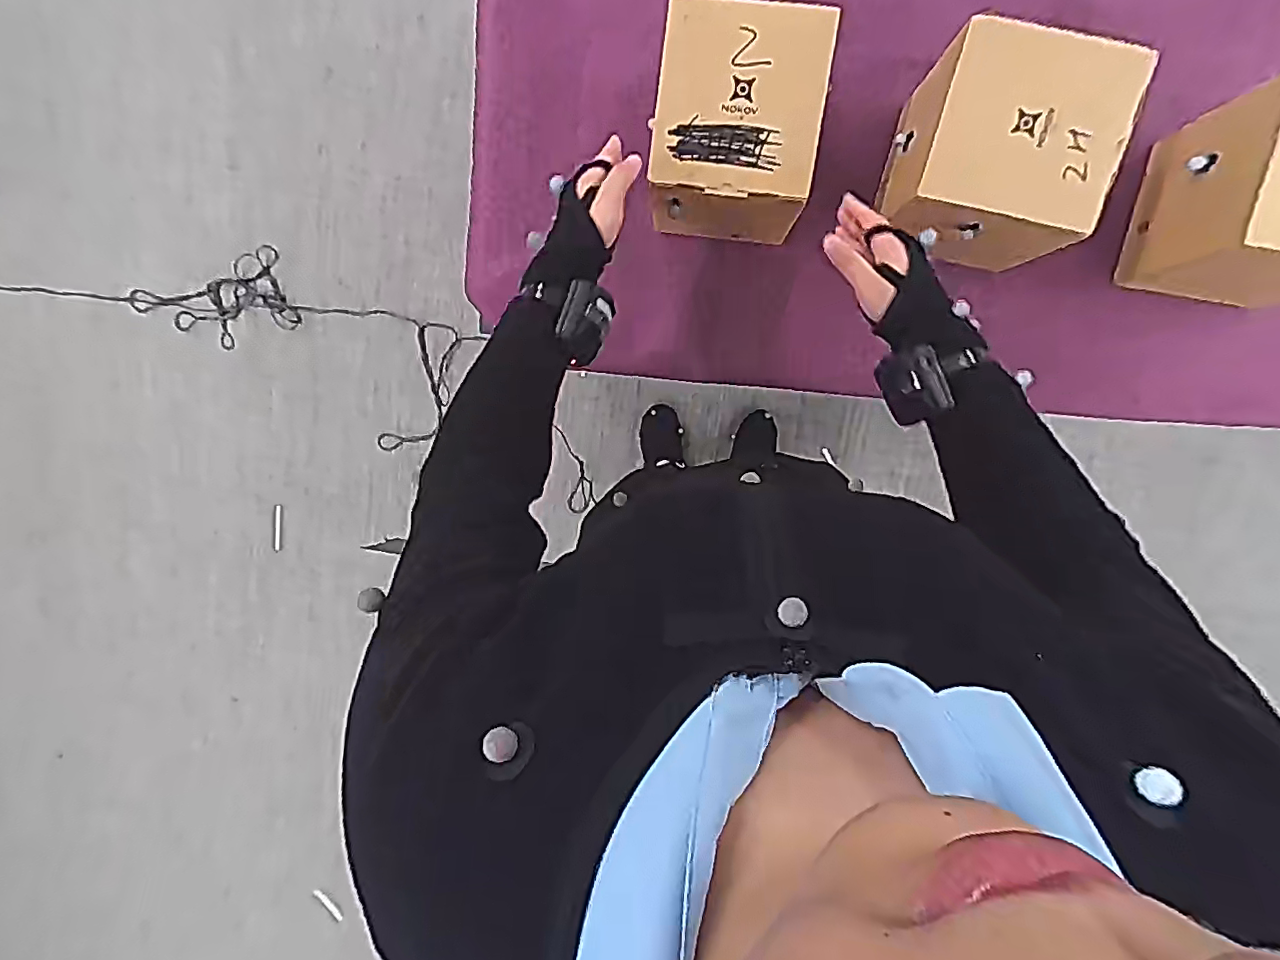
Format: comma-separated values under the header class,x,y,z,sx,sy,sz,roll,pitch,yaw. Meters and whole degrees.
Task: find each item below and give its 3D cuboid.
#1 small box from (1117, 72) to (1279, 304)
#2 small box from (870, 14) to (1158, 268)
class,x,y,z,sx,sy,sz,roll,pitch,yaw
small box,0.675,-0.296,0.576,0.179,0.176,0.168,11,98,3
small box,0.380,-0.348,0.592,0.179,0.176,0.168,15,100,2
